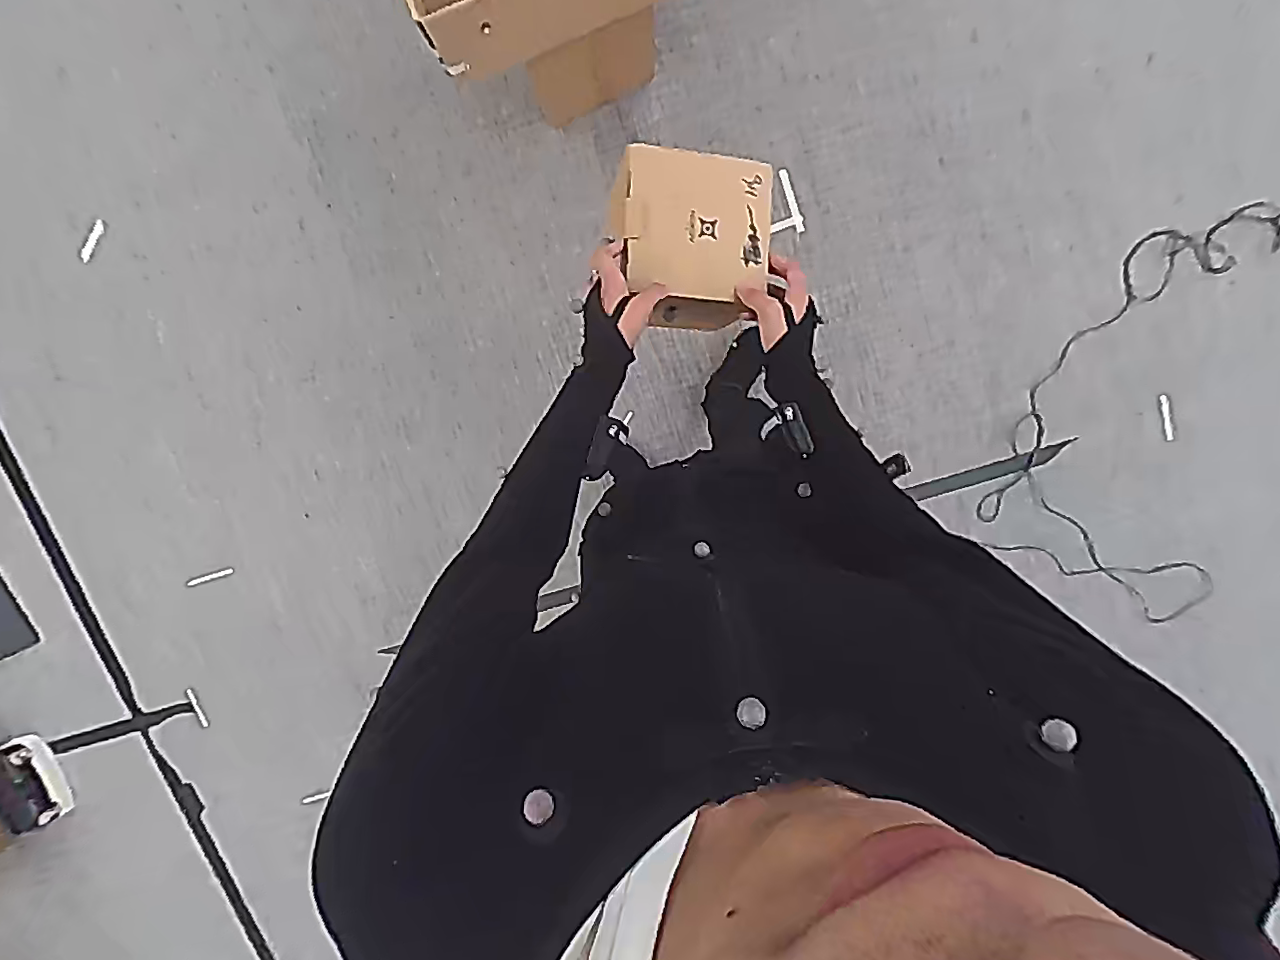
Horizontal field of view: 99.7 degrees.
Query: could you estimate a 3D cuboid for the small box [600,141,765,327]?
[{"bbox_3d":[0.044,-0.300,0.698,0.179,0.176,0.168,1,94,-12],"label":"small box"}]
